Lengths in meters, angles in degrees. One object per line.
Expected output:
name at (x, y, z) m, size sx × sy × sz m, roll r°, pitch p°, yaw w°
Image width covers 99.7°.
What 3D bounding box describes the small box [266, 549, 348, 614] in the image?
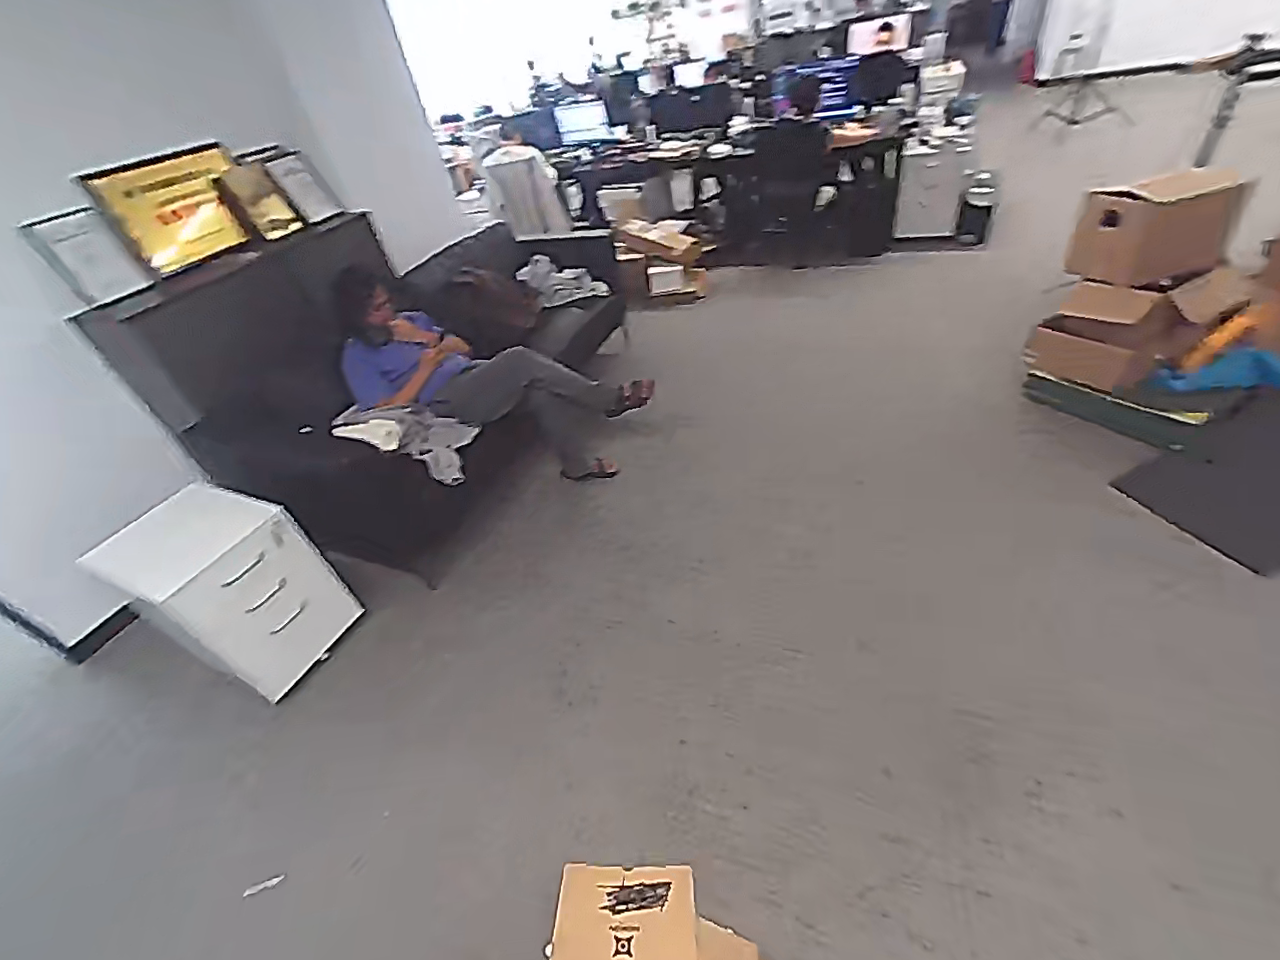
small box at (-1.149, 0.358, 1.876) m, size 0.179 × 0.176 × 0.168 m, roll -19°, pitch -11°, yaw -15°
